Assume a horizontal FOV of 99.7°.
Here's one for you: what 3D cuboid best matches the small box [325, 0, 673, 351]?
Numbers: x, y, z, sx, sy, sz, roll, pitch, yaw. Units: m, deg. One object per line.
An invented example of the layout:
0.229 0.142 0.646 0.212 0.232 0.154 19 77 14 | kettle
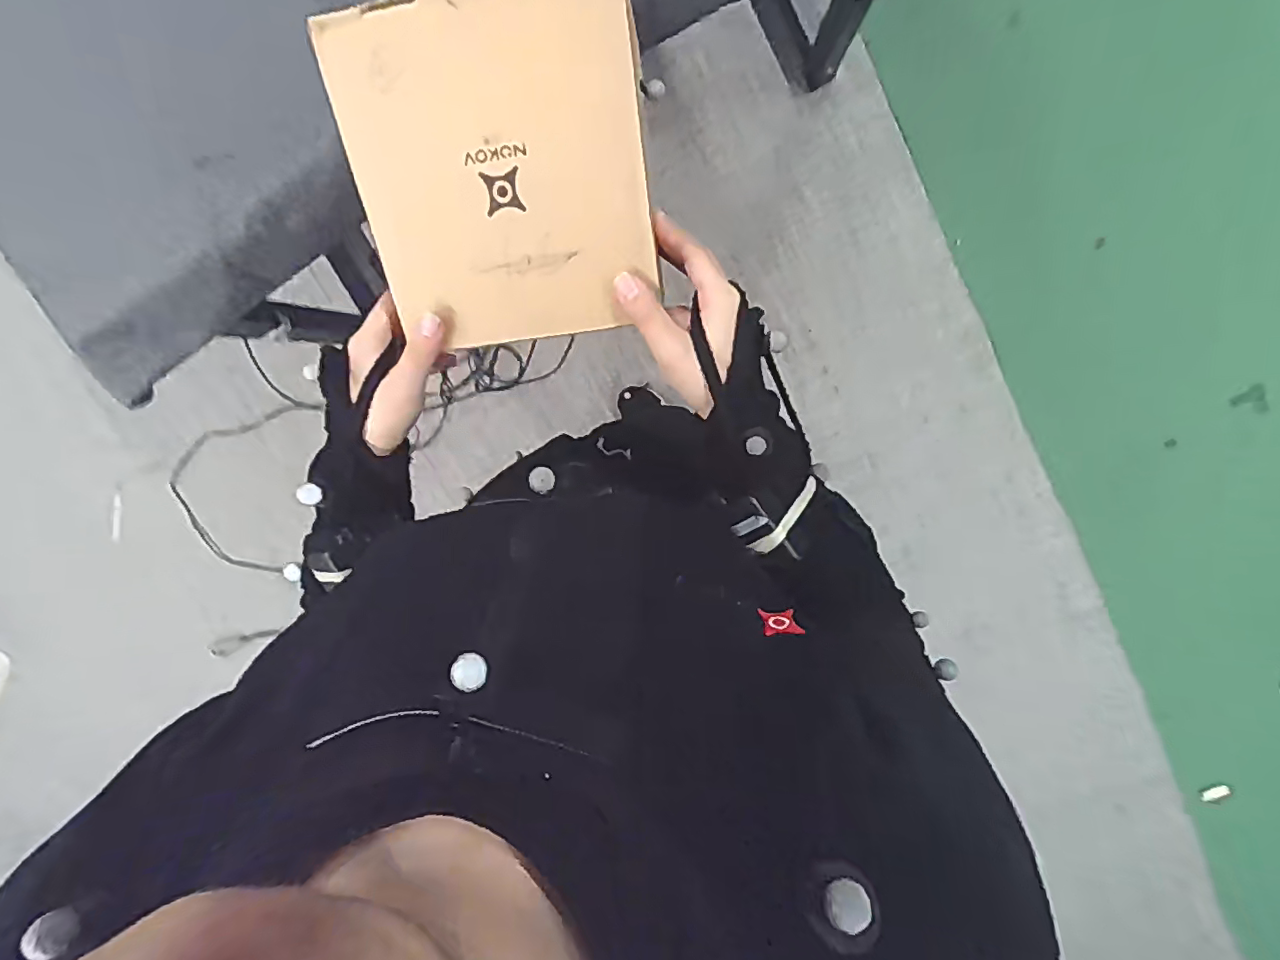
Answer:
-0.067 -0.200 0.374 0.168 0.176 0.179 -5 115 6 | small box
